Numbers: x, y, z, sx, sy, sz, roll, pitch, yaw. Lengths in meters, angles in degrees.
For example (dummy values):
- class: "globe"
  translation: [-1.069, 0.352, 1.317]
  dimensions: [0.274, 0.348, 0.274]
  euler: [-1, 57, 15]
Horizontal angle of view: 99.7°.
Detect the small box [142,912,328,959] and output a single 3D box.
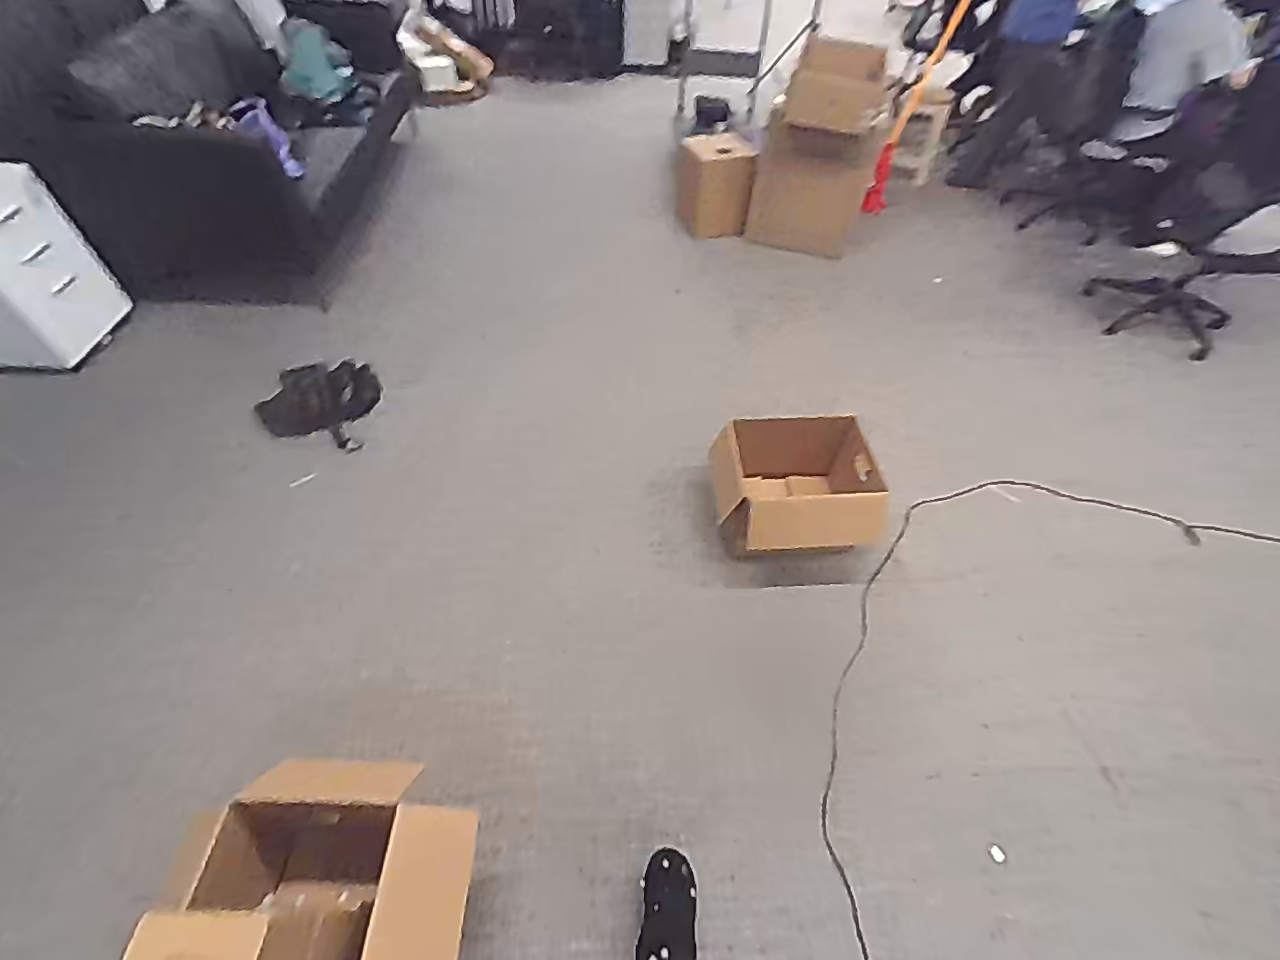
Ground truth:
- class: "small box"
  translation: [-0.555, 0.698, 0.726]
  dimensions: [0.168, 0.176, 0.179]
  euler: [2, 53, -3]
